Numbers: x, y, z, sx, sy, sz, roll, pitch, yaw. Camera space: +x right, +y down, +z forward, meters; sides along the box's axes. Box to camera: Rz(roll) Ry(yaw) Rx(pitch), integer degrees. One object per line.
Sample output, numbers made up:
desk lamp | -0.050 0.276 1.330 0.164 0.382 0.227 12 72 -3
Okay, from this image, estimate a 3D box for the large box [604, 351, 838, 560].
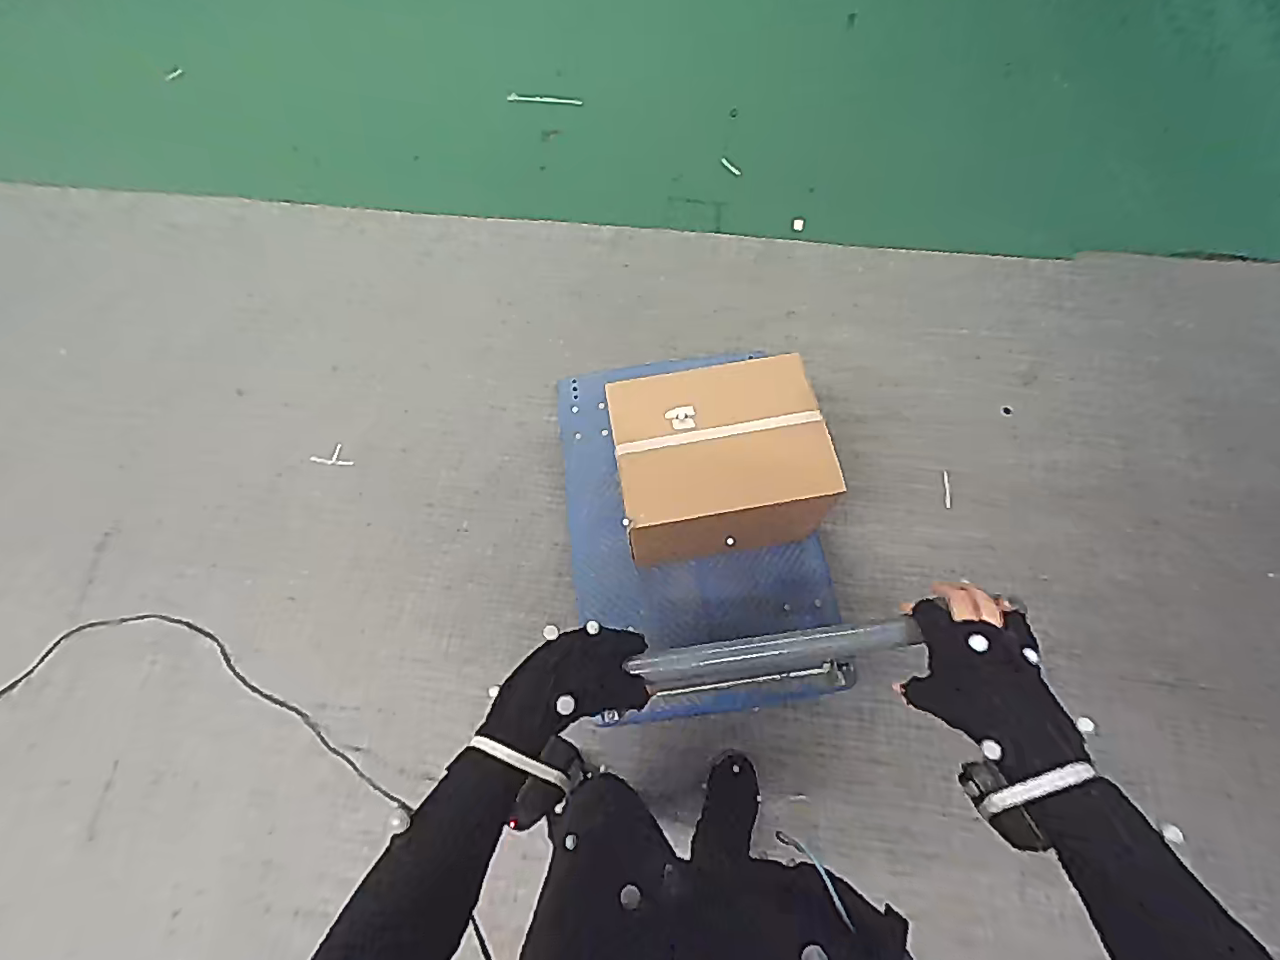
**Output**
large box | 0.156 -0.036 1.189 0.408 0.320 0.320 -11 67 -1
